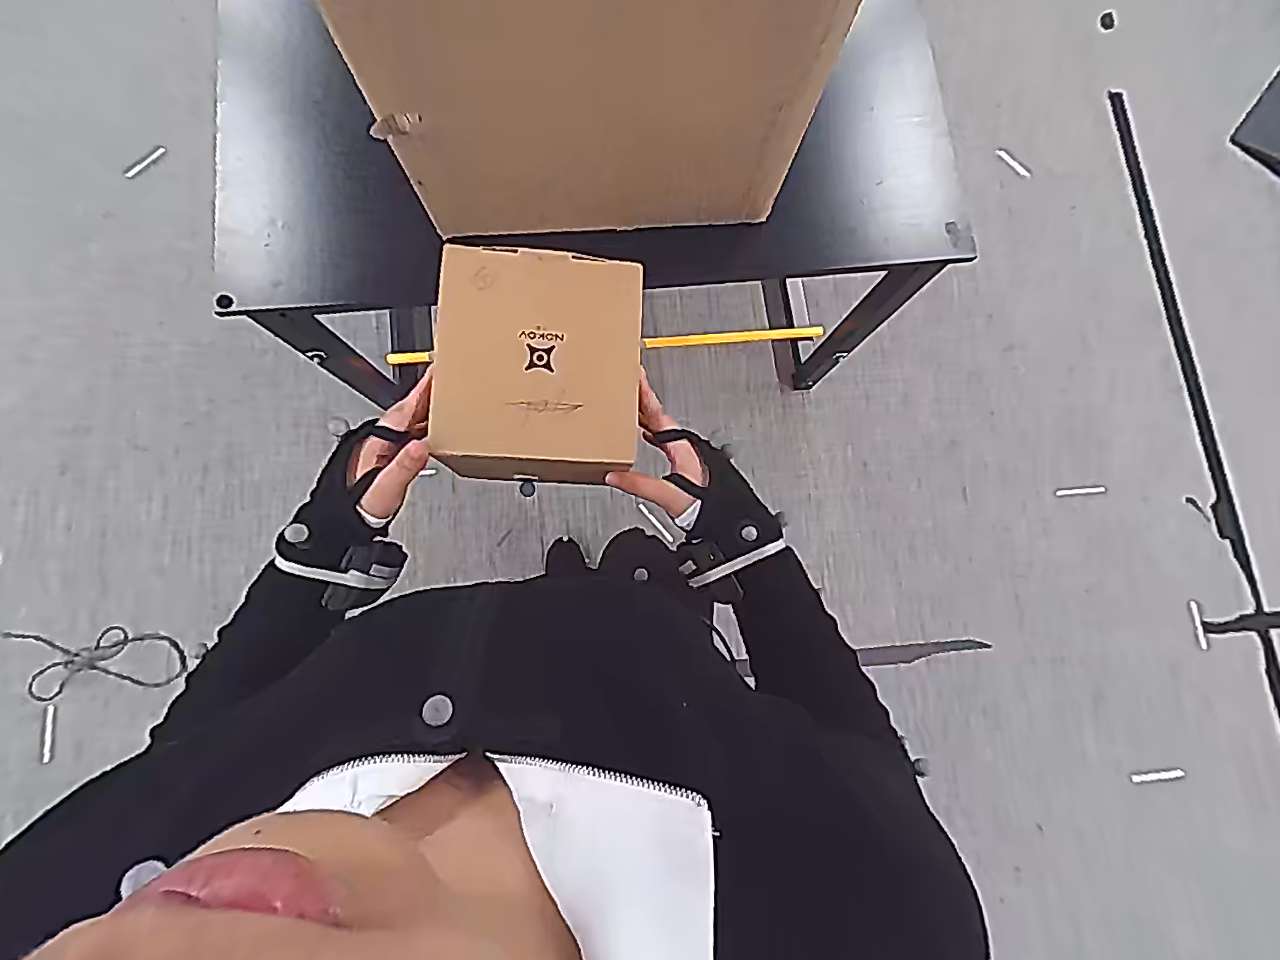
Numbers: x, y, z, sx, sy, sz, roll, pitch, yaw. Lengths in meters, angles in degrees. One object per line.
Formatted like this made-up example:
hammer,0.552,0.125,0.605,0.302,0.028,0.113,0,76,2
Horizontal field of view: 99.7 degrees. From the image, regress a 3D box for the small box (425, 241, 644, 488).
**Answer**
small box,-0.092,-0.092,0.512,0.168,0.176,0.179,3,83,-8
